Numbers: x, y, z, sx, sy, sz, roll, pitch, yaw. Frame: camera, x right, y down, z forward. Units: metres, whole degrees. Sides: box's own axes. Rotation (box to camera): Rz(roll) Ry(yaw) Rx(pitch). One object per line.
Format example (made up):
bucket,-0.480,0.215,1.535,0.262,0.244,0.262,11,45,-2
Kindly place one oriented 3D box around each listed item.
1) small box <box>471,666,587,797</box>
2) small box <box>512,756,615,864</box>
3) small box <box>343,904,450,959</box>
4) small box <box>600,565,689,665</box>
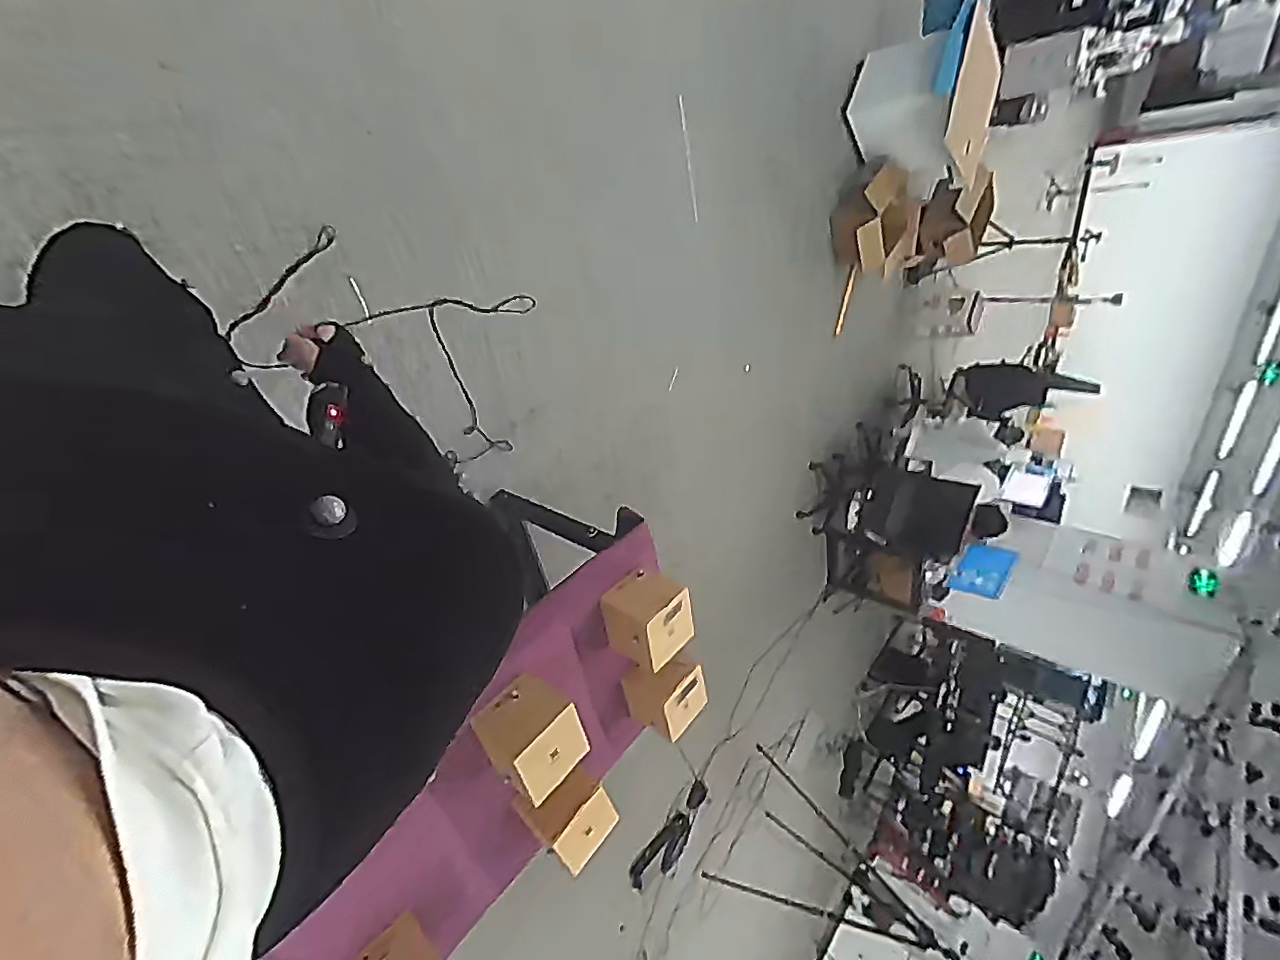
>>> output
small box,-0.250,0.559,1.223,0.168,0.176,0.179,-37,130,-36
small box,-0.195,0.821,1.384,0.168,0.176,0.179,-41,130,-32
small box,-0.490,1.041,1.120,0.168,0.176,0.179,-32,125,-39
small box,0.011,0.349,1.442,0.168,0.176,0.179,-34,129,-36
